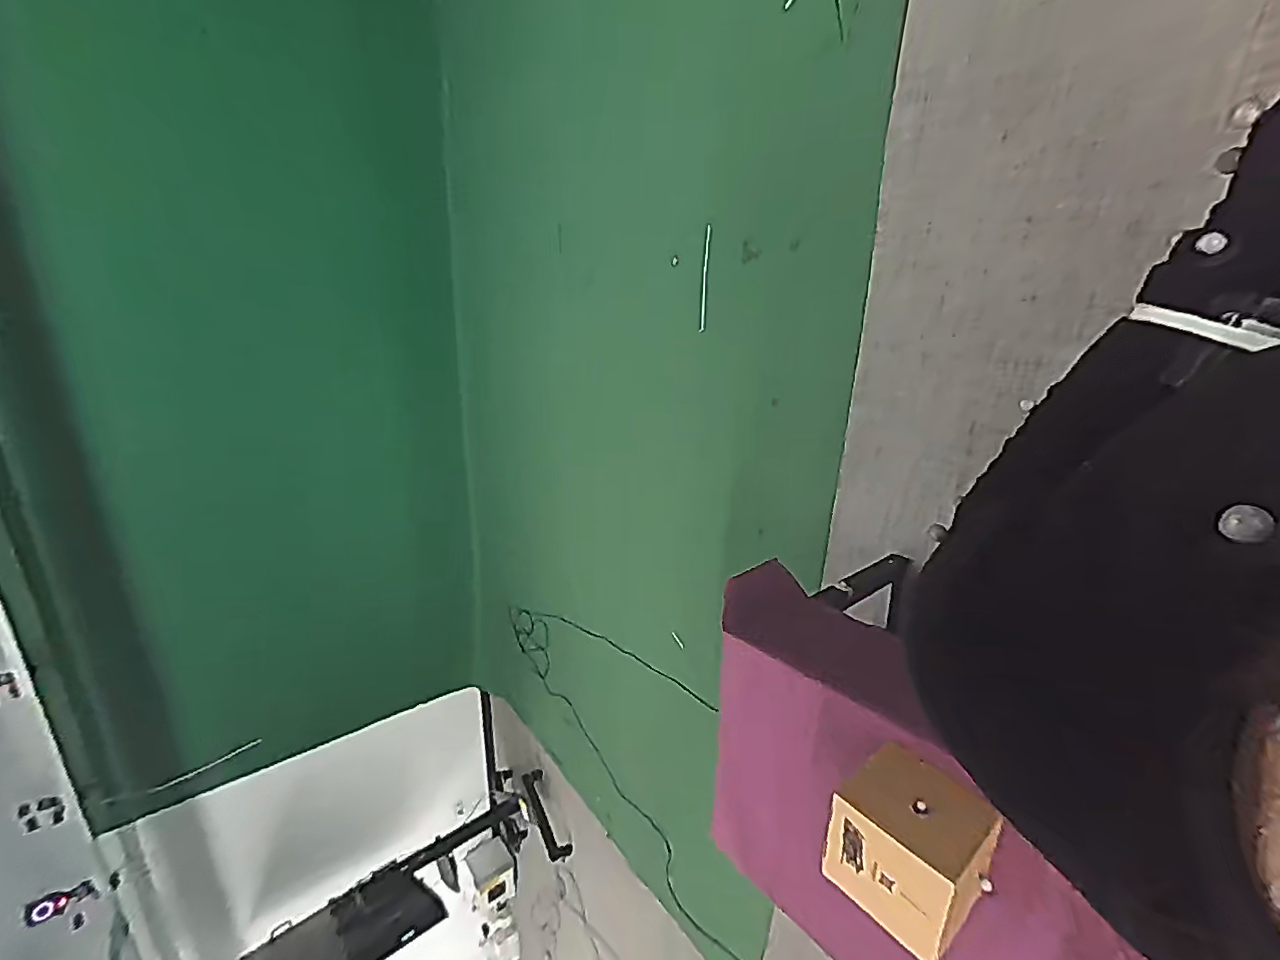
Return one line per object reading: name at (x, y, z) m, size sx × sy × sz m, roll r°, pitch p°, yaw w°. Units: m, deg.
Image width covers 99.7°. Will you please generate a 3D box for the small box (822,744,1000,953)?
small box at (0.410, 0.540, 0.827) m, size 0.179 × 0.176 × 0.168 m, roll 22°, pitch 118°, yaw 47°
